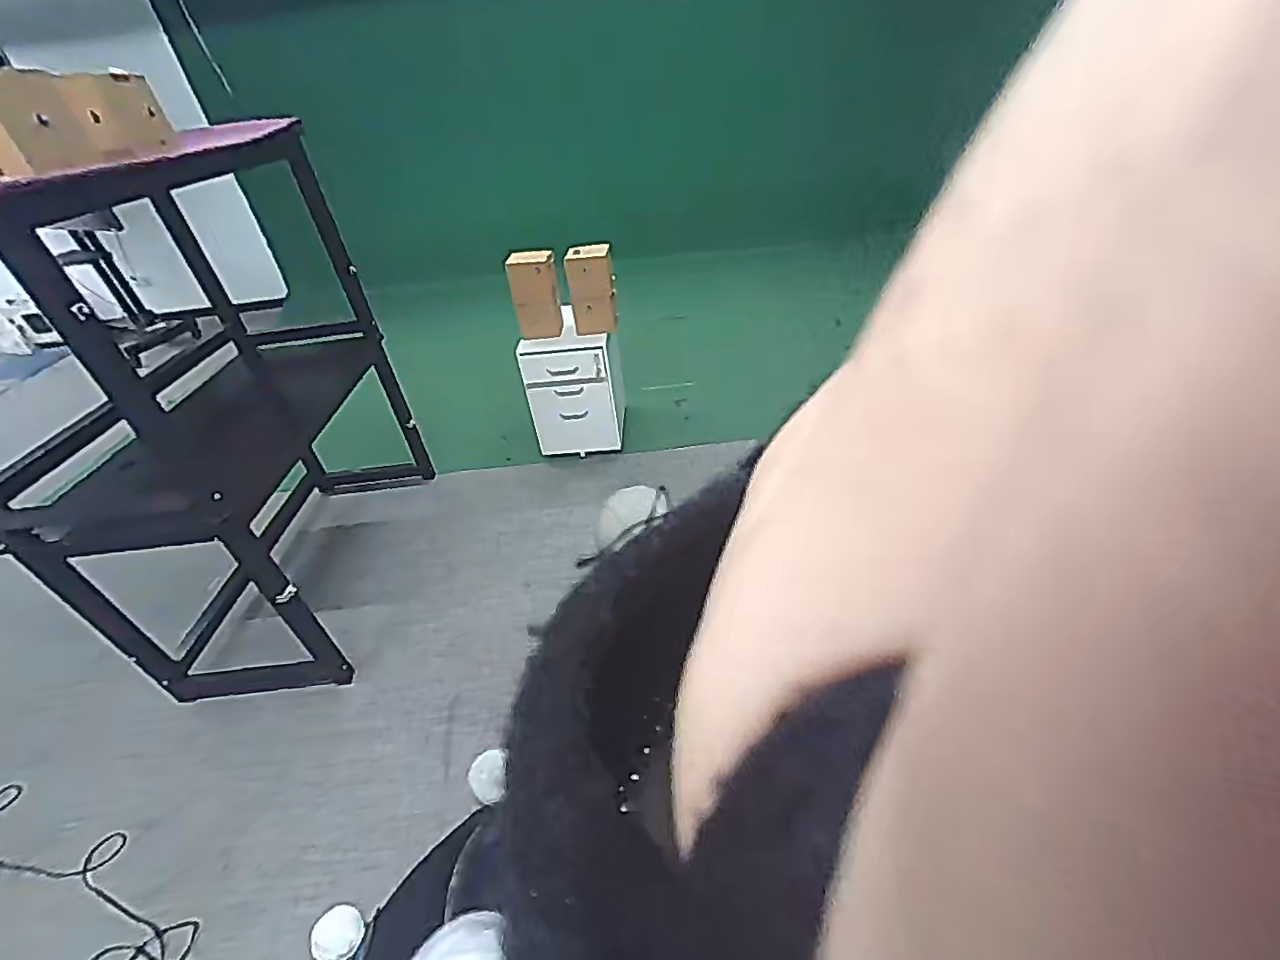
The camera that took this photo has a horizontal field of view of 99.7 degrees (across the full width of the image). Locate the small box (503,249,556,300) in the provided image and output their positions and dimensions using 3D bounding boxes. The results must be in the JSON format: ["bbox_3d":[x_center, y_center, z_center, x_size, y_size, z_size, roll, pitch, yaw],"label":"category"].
[{"bbox_3d":[-0.469,-0.882,2.327,0.179,0.176,0.168,-2,38,3],"label":"small box"}]

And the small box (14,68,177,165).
[{"bbox_3d":[-1.270,-0.861,1.281,0.179,0.176,0.168,-6,36,3],"label":"small box"}]

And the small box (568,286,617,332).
[{"bbox_3d":[-0.205,-0.765,2.398,0.179,0.176,0.168,-3,39,6],"label":"small box"}]

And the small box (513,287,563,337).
[{"bbox_3d":[-0.454,-0.752,2.425,0.179,0.176,0.168,-4,38,3],"label":"small box"}]

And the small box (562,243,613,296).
[{"bbox_3d":[-0.217,-0.891,2.293,0.179,0.176,0.168,-3,38,6],"label":"small box"}]
